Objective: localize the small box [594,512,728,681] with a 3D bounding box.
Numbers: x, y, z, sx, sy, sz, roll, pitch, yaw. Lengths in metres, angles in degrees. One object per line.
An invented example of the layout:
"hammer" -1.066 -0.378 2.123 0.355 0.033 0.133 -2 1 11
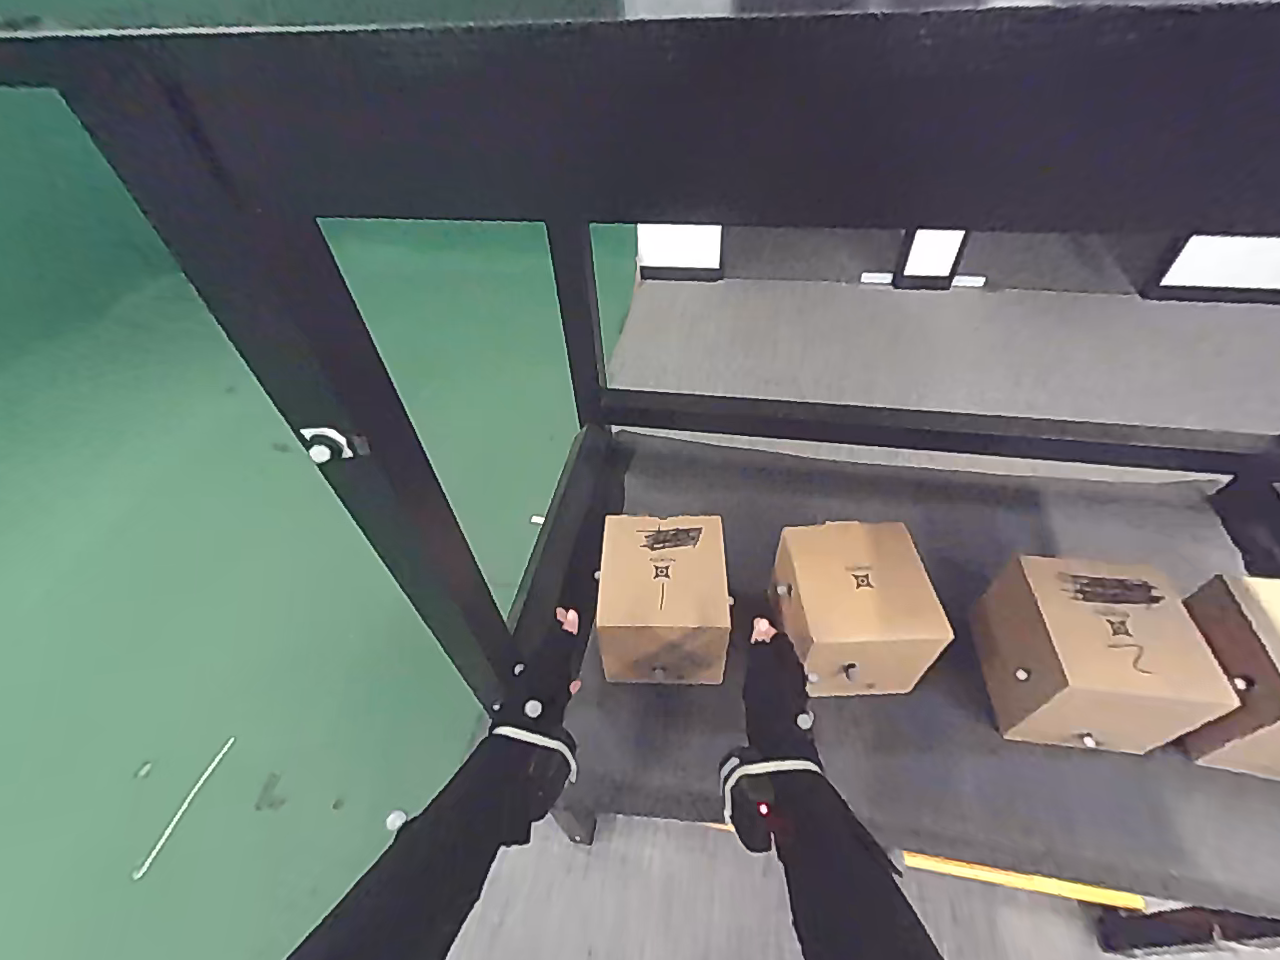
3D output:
"small box" 0.032 0.164 0.769 0.168 0.176 0.179 0 47 4
